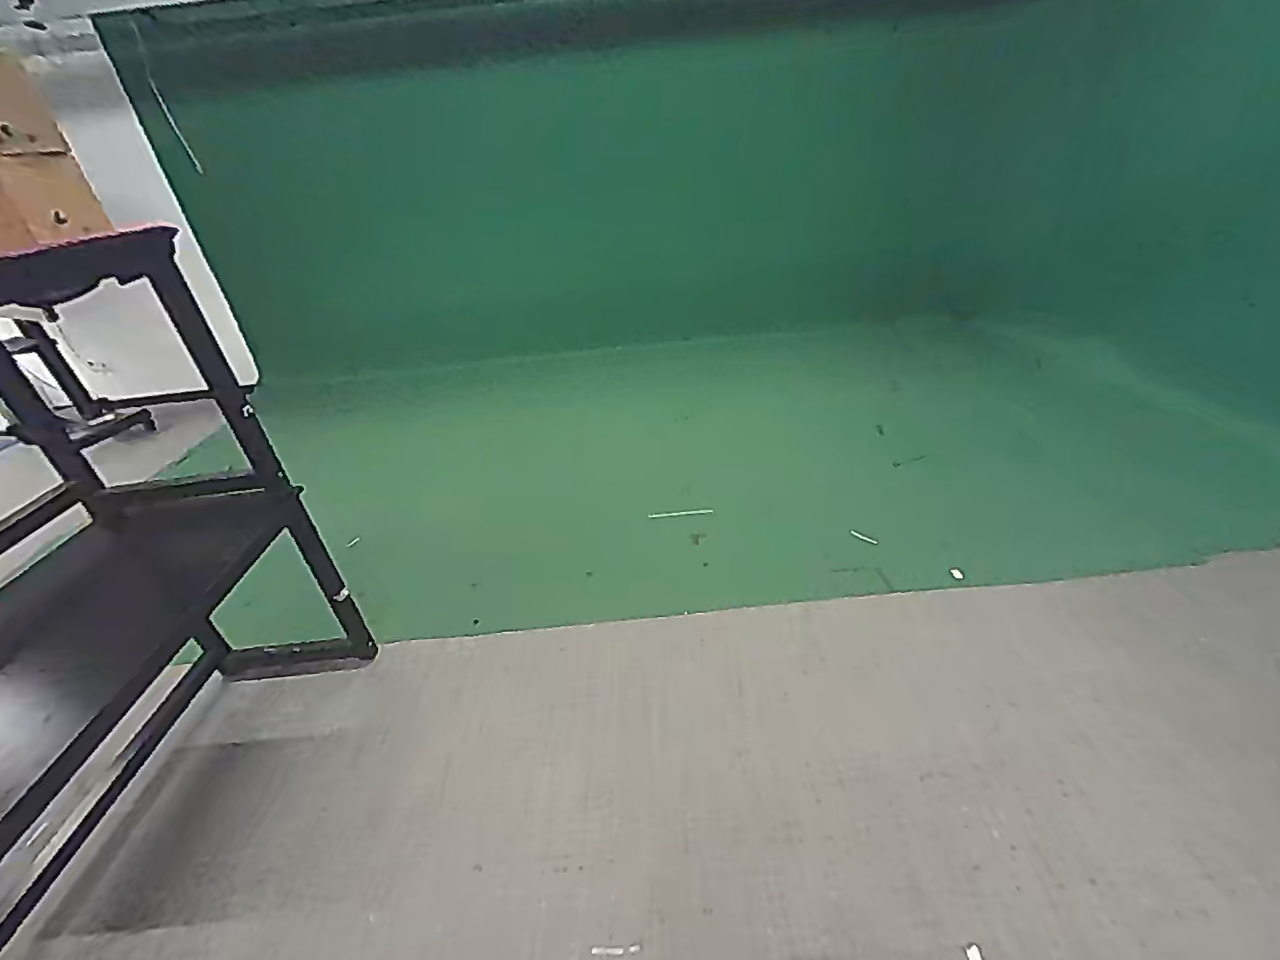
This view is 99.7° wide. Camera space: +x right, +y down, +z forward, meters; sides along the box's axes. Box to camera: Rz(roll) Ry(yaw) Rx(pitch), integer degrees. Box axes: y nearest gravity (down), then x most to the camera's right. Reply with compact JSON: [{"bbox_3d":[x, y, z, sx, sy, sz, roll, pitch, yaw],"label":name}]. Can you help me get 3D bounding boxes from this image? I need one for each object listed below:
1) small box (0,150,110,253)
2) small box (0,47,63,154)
[{"bbox_3d":[-1.255,-0.557,1.087,0.179,0.176,0.168,0,33,9],"label":"small box"},{"bbox_3d":[-1.261,-0.694,0.999,0.179,0.176,0.168,3,35,11],"label":"small box"}]
